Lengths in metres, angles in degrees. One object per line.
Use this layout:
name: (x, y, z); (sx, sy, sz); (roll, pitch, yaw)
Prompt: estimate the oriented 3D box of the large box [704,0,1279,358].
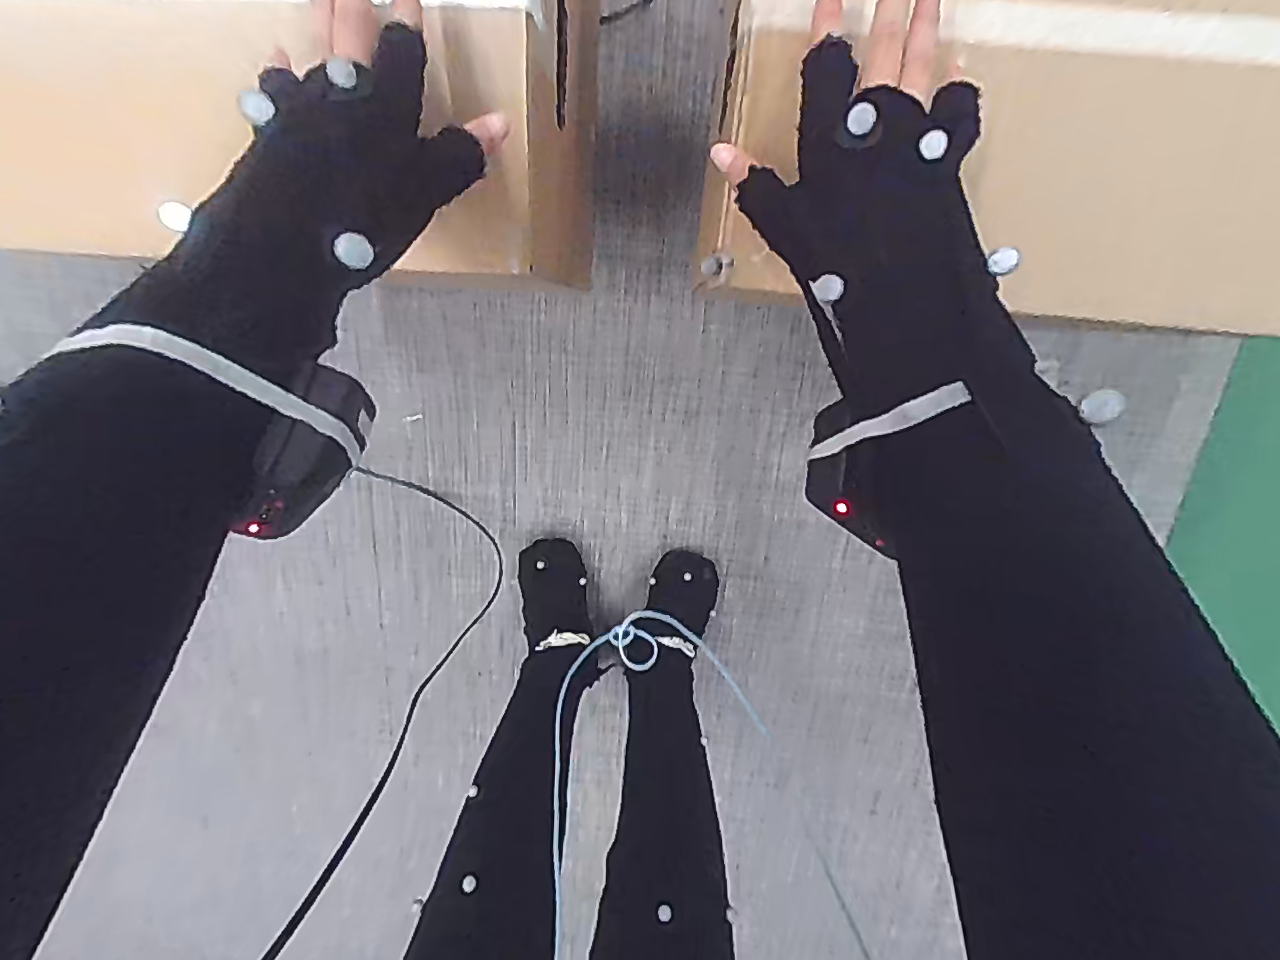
large box: (0.284, -0.298, 0.497); (0.408, 0.320, 0.320); (6, 107, 1)
